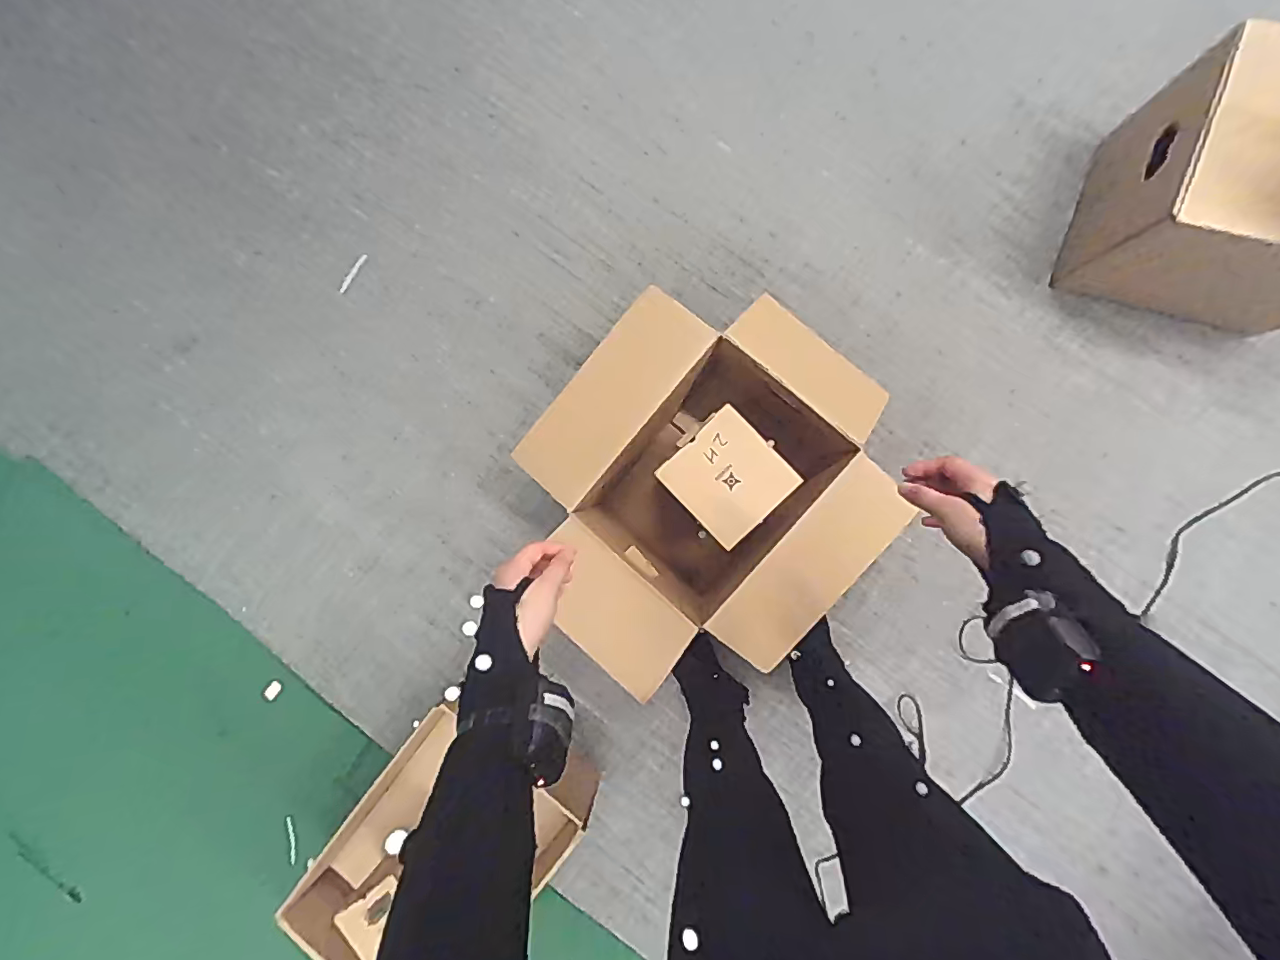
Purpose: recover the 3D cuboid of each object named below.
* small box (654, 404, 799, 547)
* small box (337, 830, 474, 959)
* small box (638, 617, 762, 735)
[{"bbox_3d":[0.144,-0.008,0.945,0.168,0.176,0.179,-44,86,2],"label":"small box"},{"bbox_3d":[-0.496,0.900,1.164,0.168,0.176,0.179,-38,86,5],"label":"small box"},{"bbox_3d":[0.128,0.402,1.121,0.176,0.168,0.179,28,68,-22],"label":"small box"}]
